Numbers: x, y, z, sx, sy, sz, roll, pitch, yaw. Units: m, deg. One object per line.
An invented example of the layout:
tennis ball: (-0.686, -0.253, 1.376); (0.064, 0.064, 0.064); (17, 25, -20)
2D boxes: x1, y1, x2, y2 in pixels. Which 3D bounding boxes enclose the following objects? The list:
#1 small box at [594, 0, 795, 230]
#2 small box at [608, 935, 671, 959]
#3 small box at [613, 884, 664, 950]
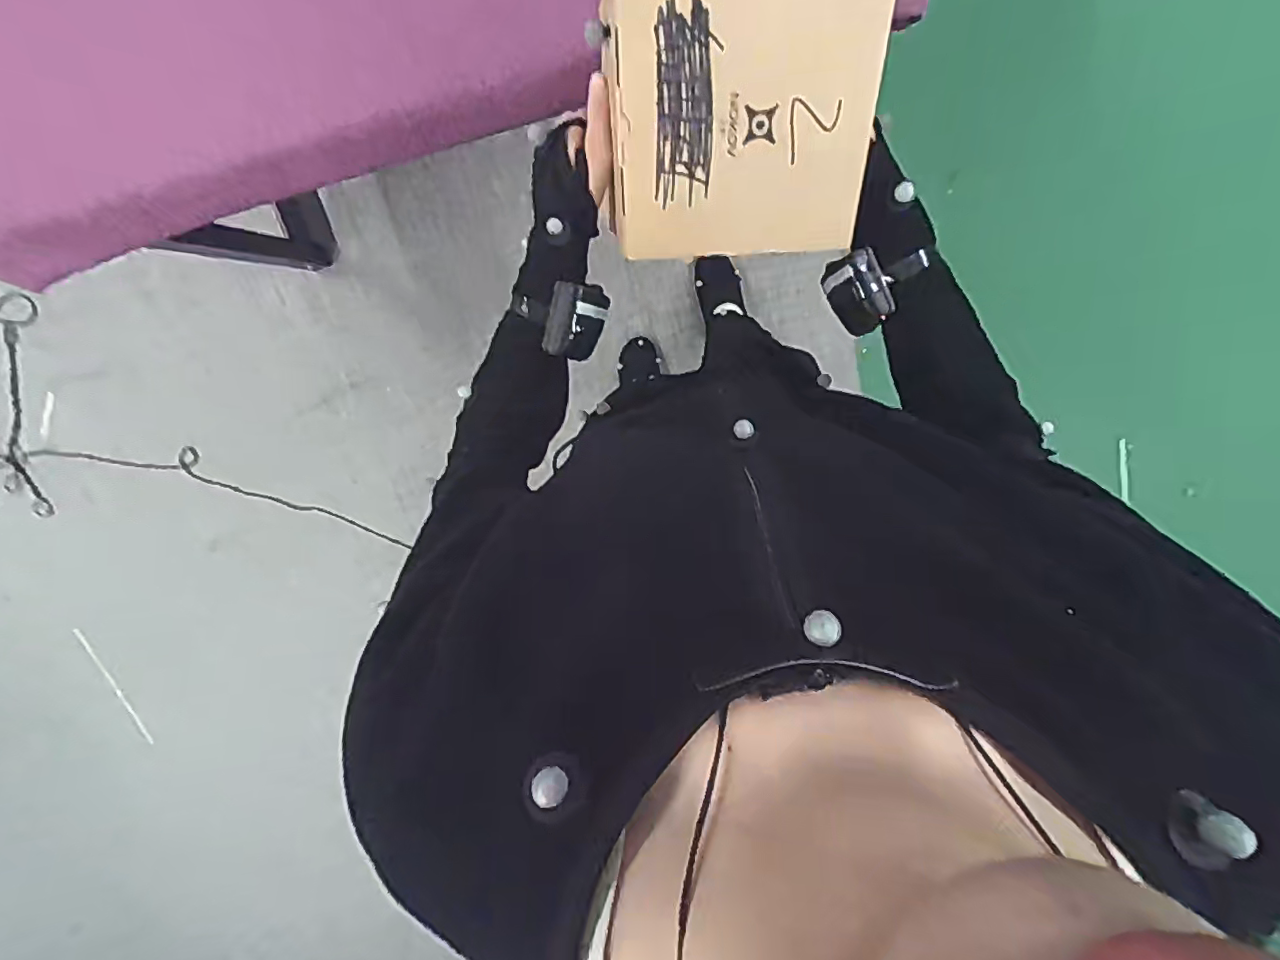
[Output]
small box: (0.040, -0.371, 0.564); (0.168, 0.176, 0.179); (-1, 122, -7)
small box: (0.004, 1.601, 1.714); (0.179, 0.176, 0.168); (-31, 104, 9)
small box: (-0.005, 1.549, 1.869); (0.168, 0.176, 0.179); (4, 106, 0)
